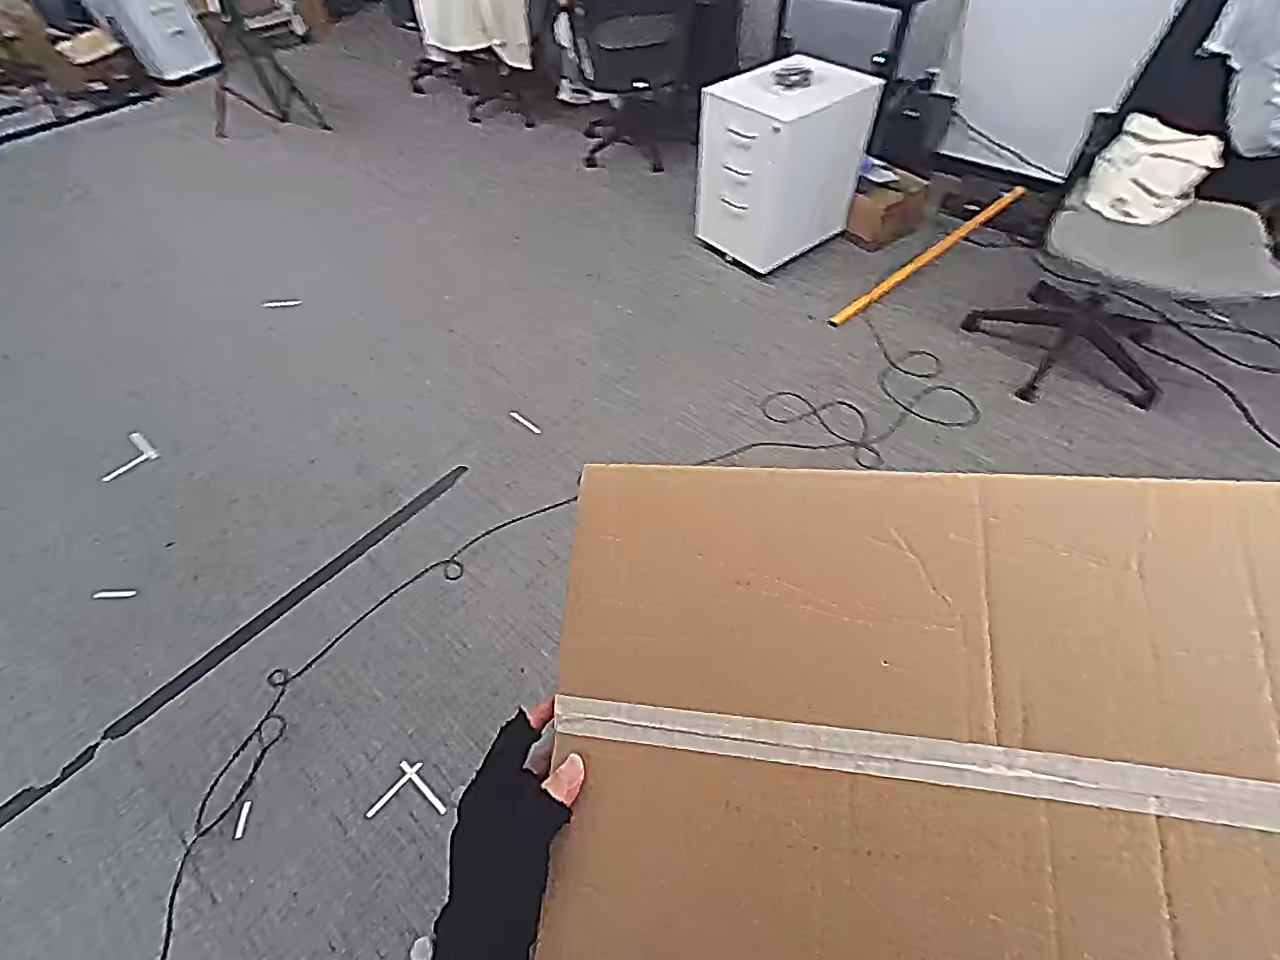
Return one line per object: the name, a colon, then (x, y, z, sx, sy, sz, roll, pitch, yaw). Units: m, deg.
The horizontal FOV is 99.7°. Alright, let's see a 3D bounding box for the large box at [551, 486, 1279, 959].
large box: (0.179, 0.194, 0.434, 0.408, 0.320, 0.320, 1, 76, 12)
